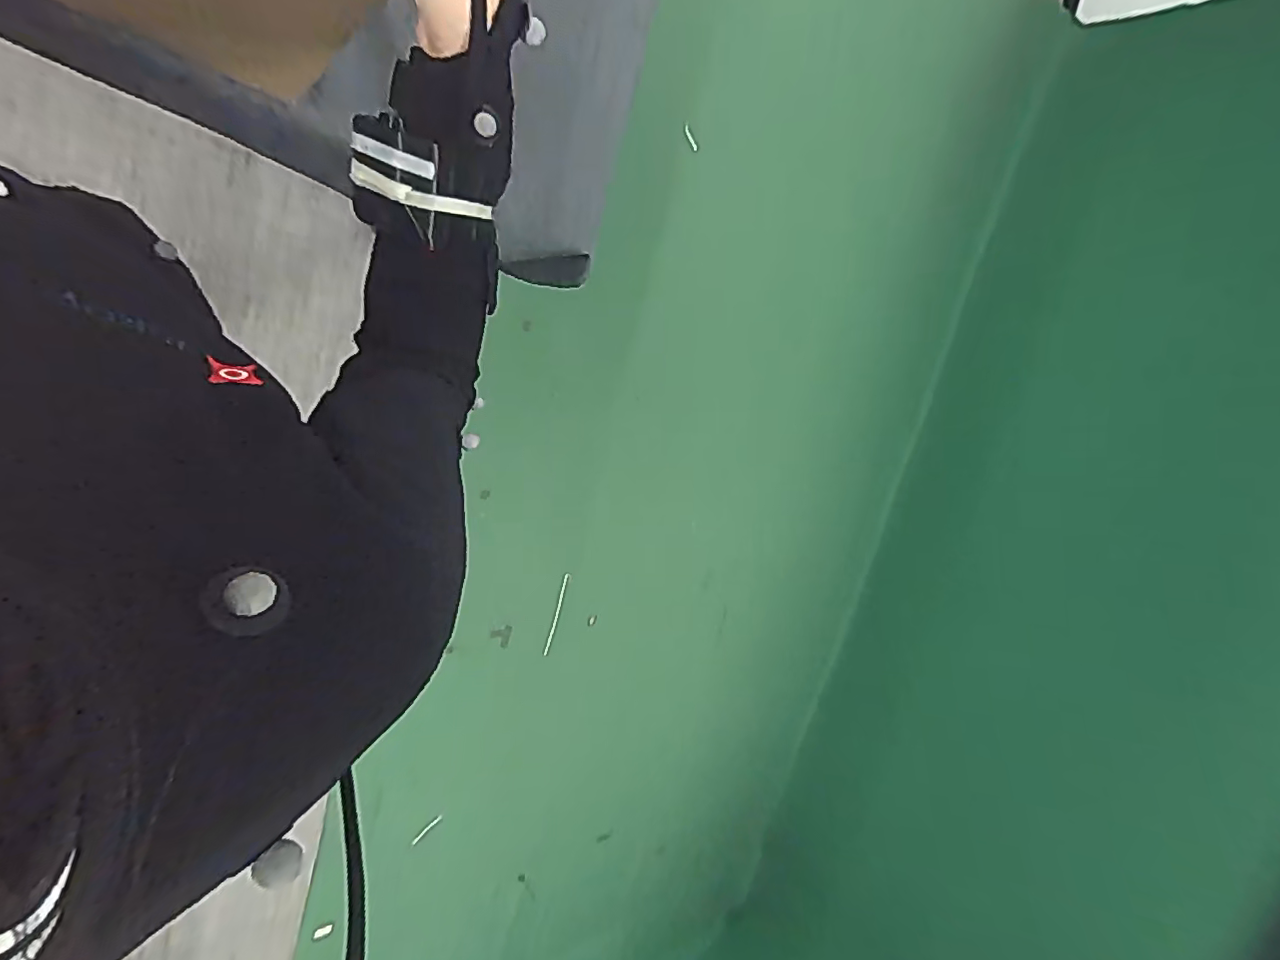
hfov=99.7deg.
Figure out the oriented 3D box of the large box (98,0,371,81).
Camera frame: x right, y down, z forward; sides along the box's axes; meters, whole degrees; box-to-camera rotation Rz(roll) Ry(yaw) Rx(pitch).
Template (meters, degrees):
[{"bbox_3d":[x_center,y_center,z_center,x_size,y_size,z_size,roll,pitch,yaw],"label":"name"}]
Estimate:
[{"bbox_3d":[-0.332,-0.466,0.227,0.408,0.320,0.320,1,106,-45],"label":"large box"}]
